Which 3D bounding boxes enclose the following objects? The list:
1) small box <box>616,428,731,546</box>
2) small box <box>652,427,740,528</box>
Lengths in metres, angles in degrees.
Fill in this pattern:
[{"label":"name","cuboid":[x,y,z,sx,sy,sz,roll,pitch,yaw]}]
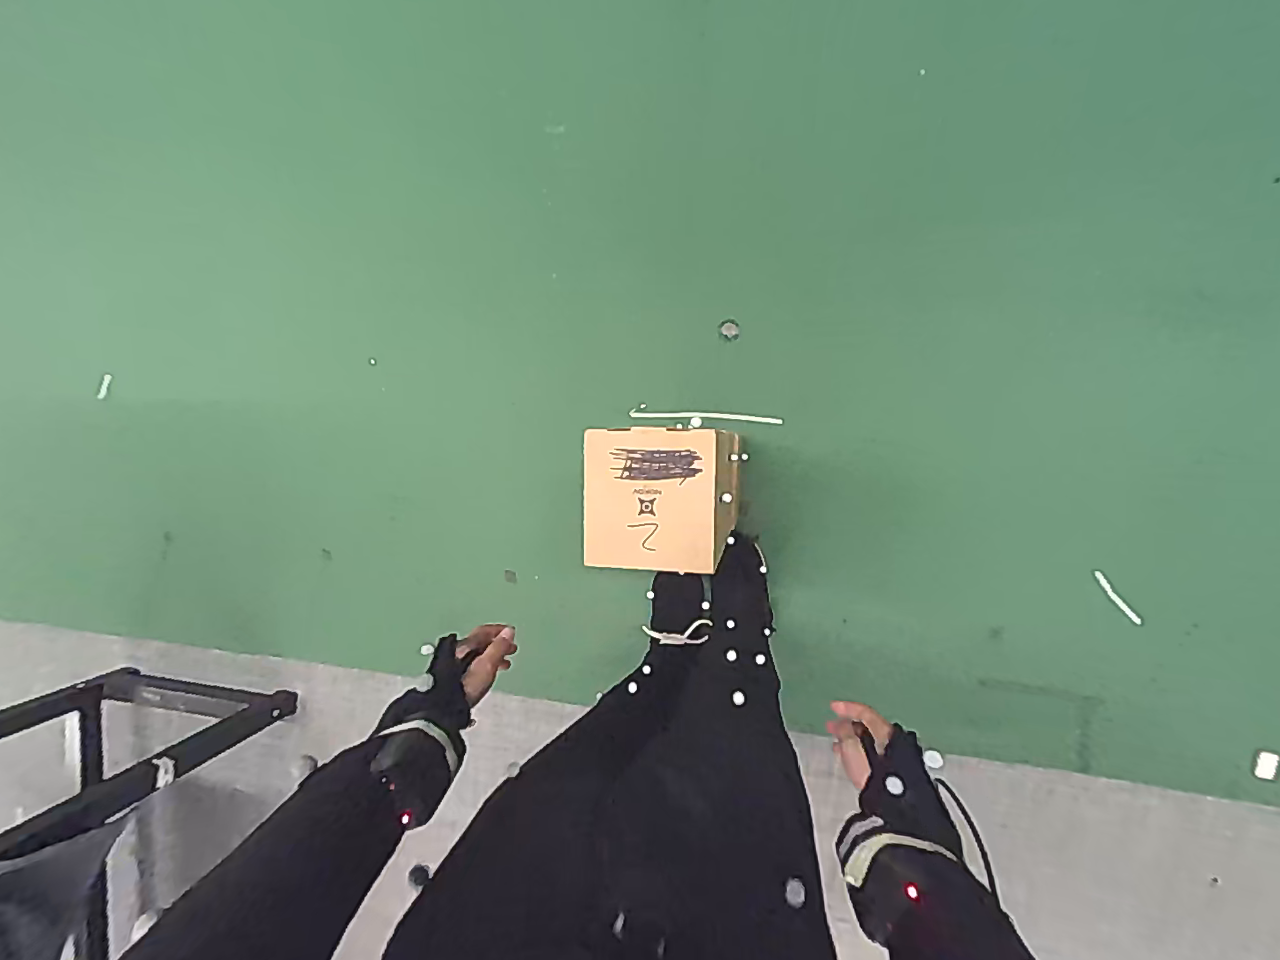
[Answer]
[{"label":"small box","cuboid":[0.062,0.004,0.897,0.168,0.176,0.179,2,93,13]},{"label":"small box","cuboid":[0.105,-0.010,1.053,0.168,0.176,0.179,3,95,13]}]
